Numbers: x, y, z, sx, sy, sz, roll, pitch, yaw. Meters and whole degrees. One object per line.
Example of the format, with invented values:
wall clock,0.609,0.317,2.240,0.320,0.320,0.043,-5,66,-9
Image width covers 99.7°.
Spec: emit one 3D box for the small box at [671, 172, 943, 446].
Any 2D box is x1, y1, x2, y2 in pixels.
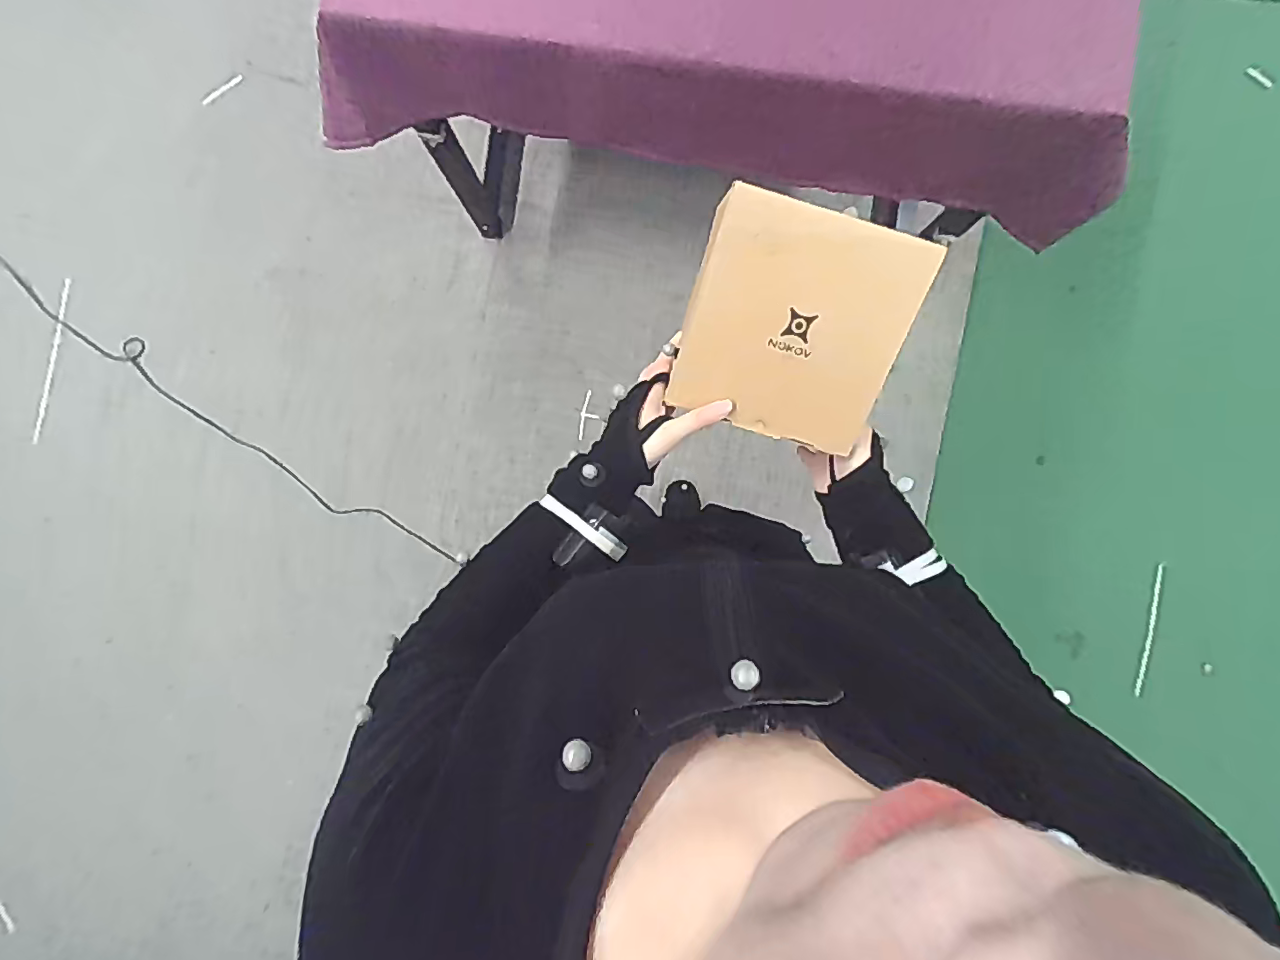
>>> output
small box,0.129,-0.158,0.498,0.168,0.176,0.179,15,115,-2
